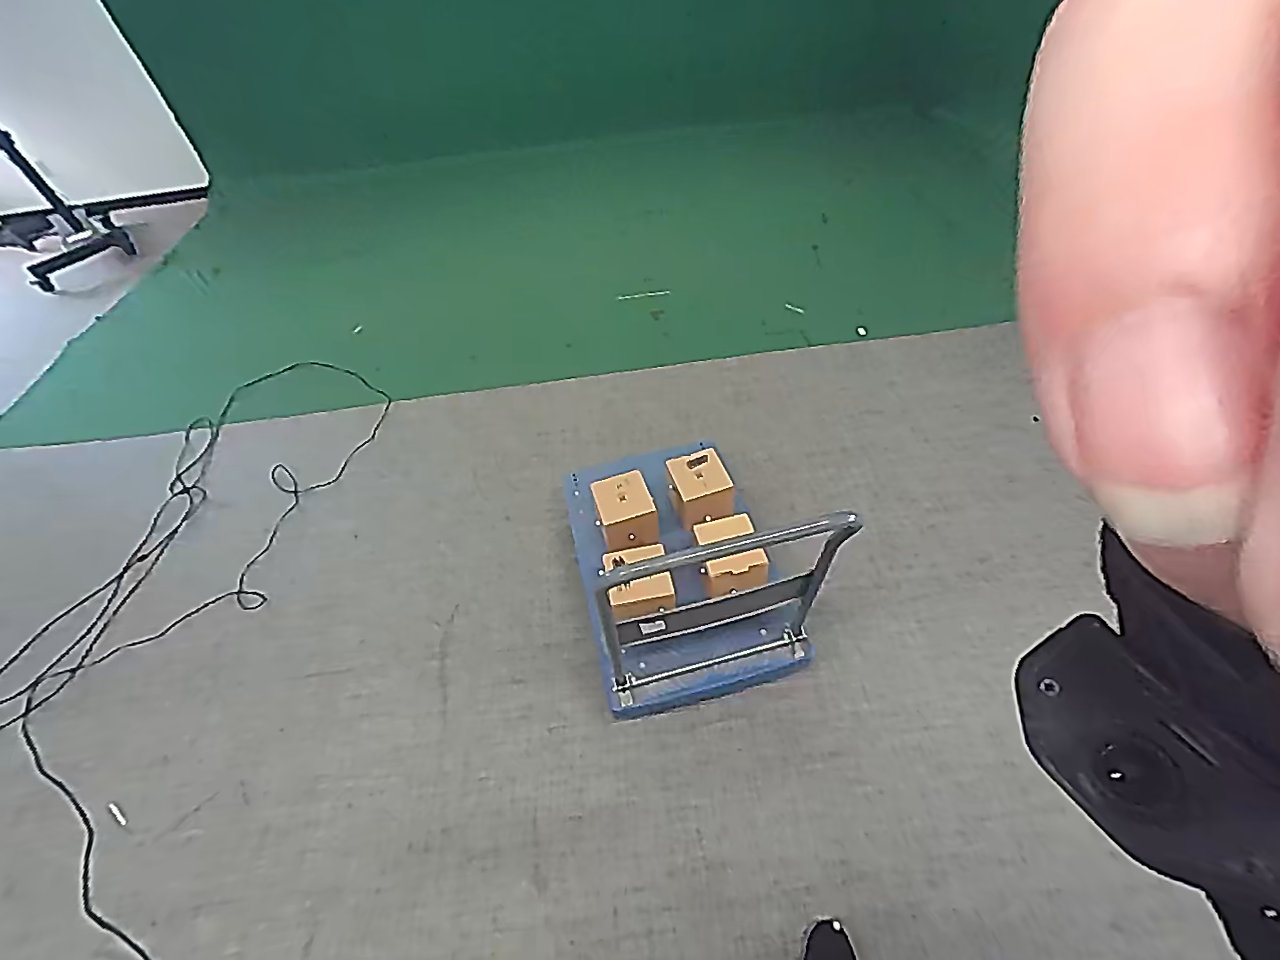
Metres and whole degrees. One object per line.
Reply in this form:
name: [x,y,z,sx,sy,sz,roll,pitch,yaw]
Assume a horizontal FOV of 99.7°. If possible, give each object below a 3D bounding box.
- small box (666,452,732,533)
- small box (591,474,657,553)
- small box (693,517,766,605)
small box: [0.189,0.042,1.765,0.168,0.176,0.179,-17,51,-7]
small box: [-0.049,0.114,1.729,0.168,0.176,0.179,-16,50,-9]
small box: [0.255,0.239,1.592,0.168,0.176,0.179,-13,50,-5]
